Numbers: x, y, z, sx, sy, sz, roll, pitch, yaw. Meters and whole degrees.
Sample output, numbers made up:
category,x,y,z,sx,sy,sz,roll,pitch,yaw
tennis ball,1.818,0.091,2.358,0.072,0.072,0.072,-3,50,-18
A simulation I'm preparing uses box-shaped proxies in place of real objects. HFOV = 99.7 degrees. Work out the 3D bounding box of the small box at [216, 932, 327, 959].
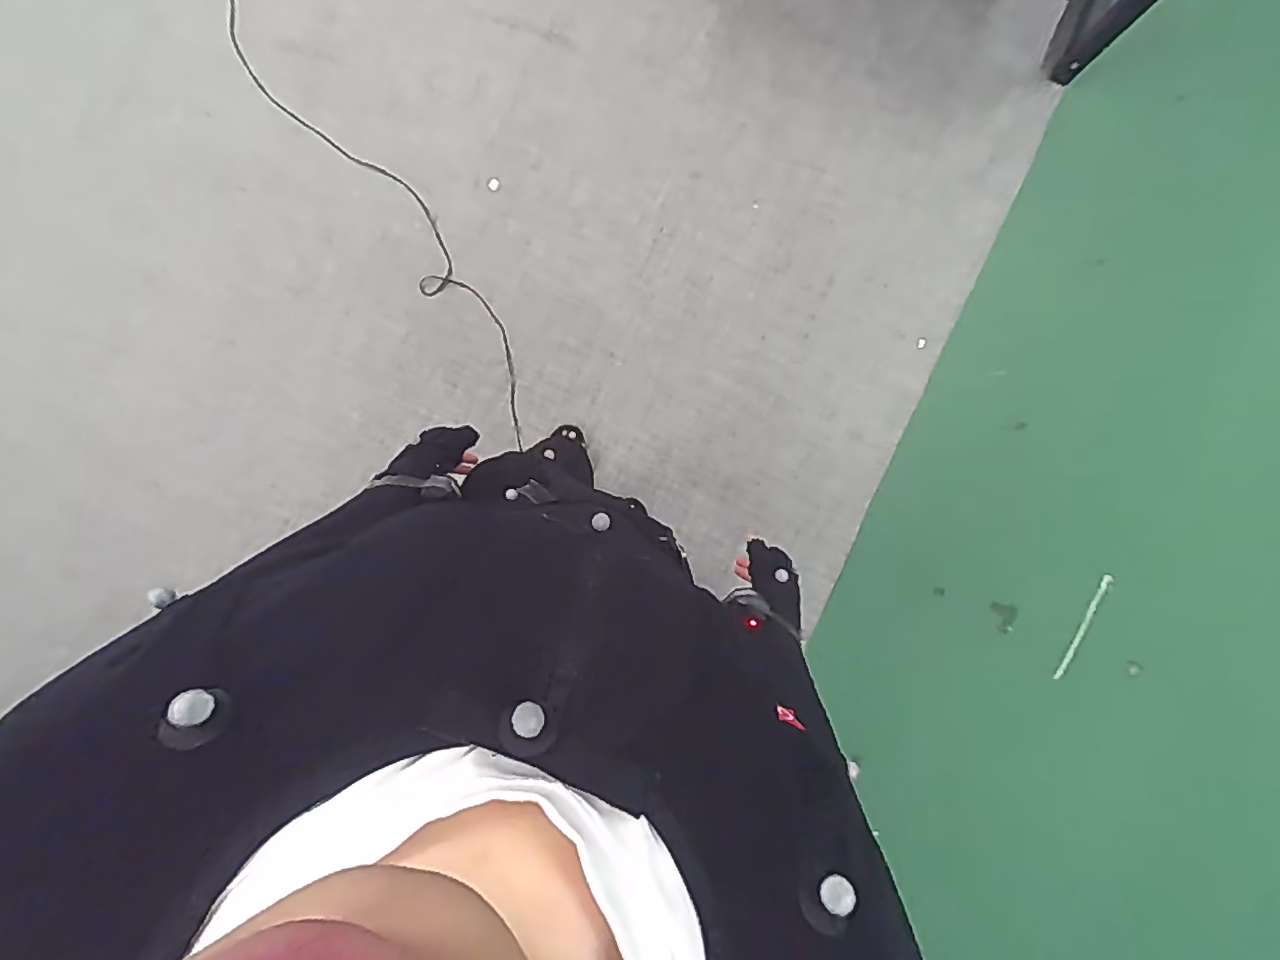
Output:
category,x,y,z,sx,sy,sz,roll,pitch,yaw
small box,-0.555,0.782,0.745,0.179,0.176,0.168,20,81,0
